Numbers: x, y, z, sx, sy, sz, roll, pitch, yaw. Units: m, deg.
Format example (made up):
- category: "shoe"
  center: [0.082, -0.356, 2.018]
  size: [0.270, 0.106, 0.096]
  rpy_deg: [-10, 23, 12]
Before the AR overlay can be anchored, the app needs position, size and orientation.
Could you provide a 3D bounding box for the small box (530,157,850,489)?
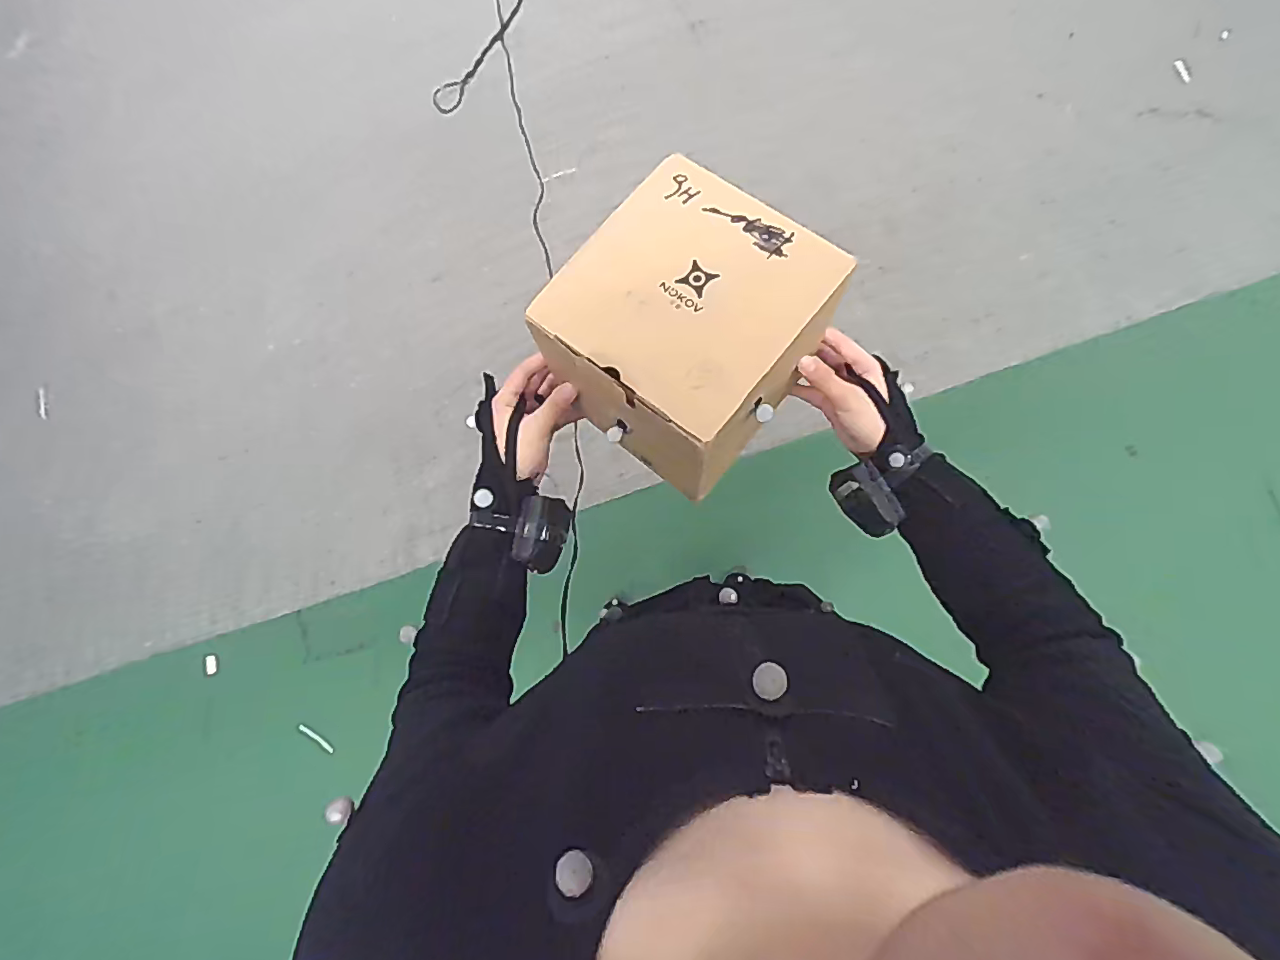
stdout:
- category: "small box"
  center: [0.041, -0.116, 0.462]
  size: [0.168, 0.176, 0.179]
  rpy_deg: [38, 81, 13]
